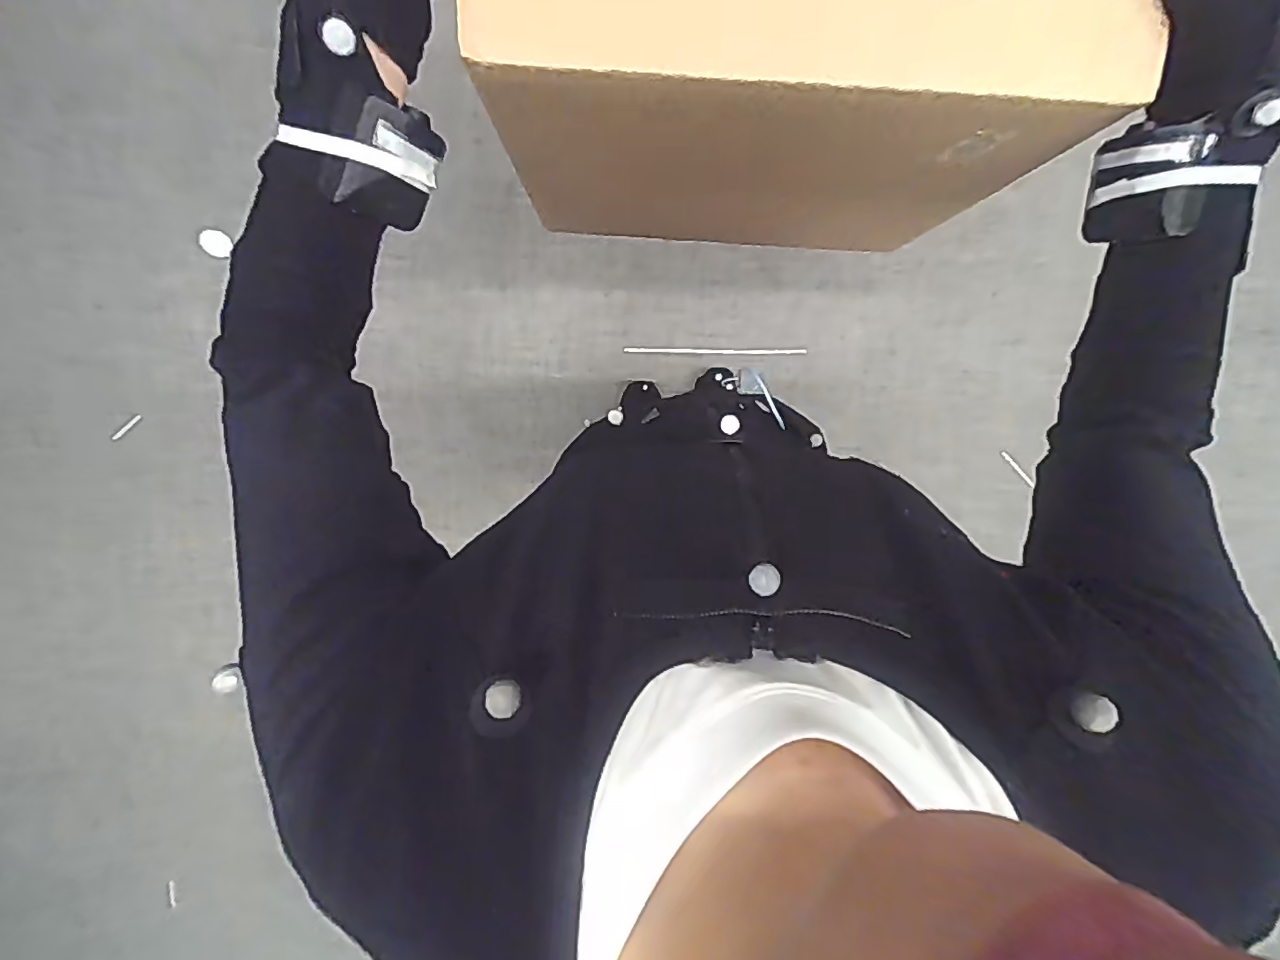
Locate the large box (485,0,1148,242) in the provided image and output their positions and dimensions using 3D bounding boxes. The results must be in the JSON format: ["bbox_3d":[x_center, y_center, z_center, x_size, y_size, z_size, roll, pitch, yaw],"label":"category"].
[{"bbox_3d":[0.103,-0.408,0.453,0.408,0.320,0.320,2,98,-2],"label":"large box"}]
